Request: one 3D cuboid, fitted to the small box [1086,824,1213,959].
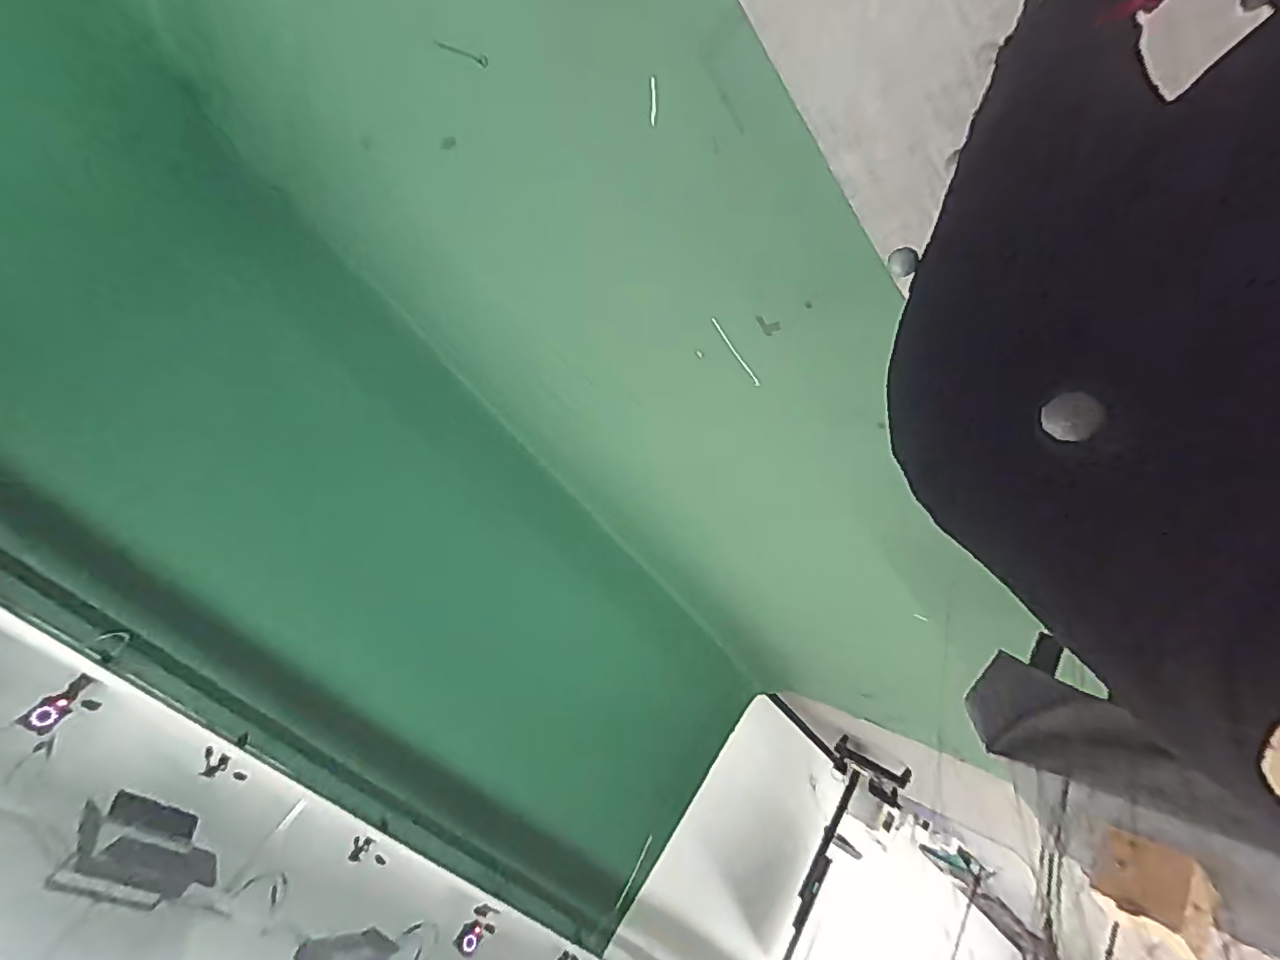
[{"bbox_3d":[1.186,0.949,1.258,0.179,0.176,0.168,46,158,-20],"label":"small box"}]
